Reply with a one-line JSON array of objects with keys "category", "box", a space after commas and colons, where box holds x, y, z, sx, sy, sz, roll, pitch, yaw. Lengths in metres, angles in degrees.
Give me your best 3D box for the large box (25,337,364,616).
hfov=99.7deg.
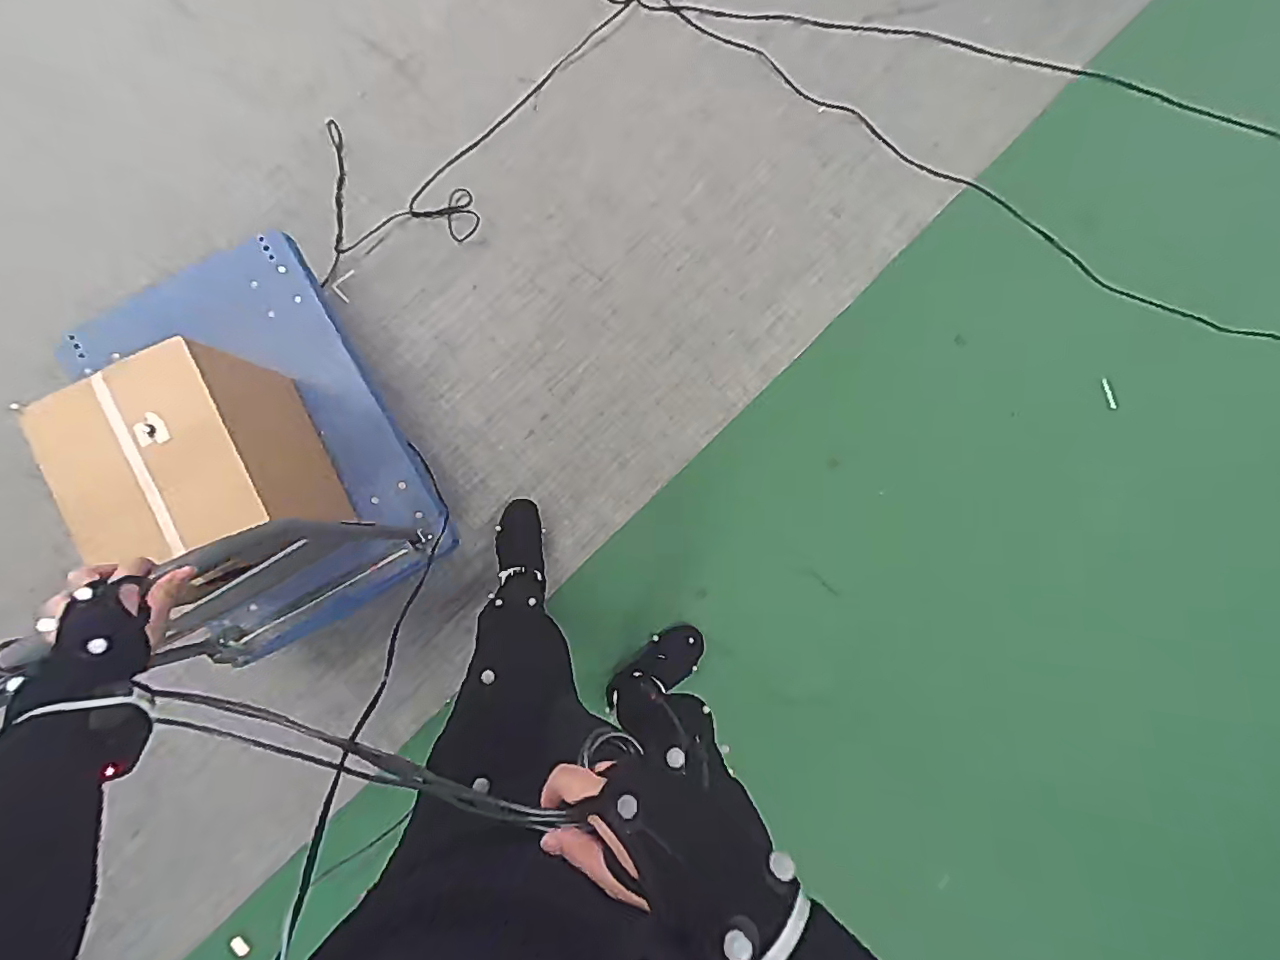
[{"category": "large box", "box": [-0.838, 0.000, 1.076, 0.320, 0.320, 0.408, -26, 88, -3]}]
